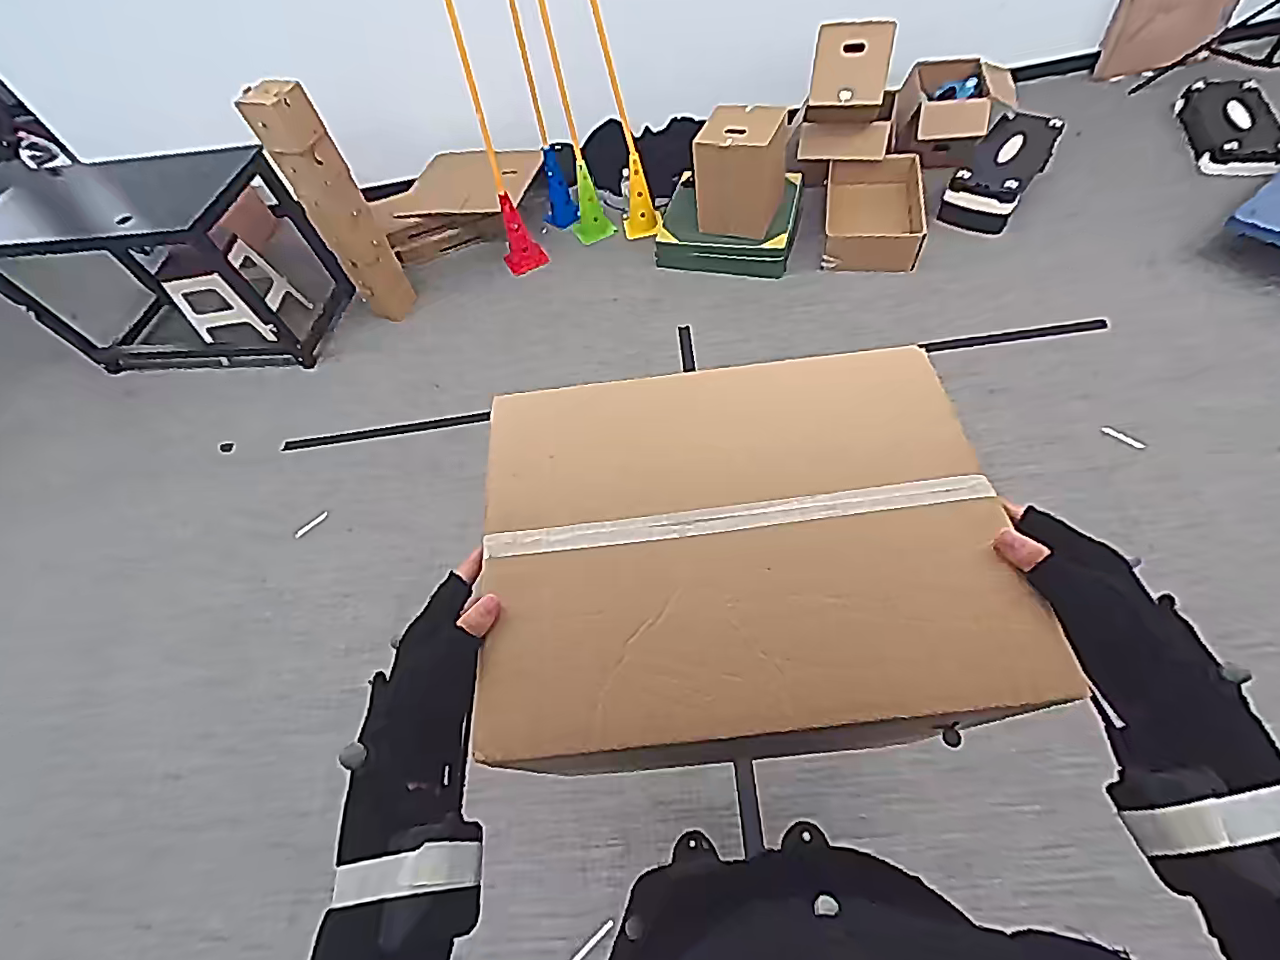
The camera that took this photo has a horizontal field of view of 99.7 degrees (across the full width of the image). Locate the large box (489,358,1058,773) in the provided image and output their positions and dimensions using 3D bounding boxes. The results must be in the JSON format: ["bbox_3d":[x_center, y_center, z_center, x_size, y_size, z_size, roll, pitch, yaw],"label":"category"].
[{"bbox_3d":[0.089,0.113,0.573,0.408,0.320,0.320,-7,59,1],"label":"large box"}]

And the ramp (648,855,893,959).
[{"bbox_3d":[0.303,1.298,0.989,0.509,0.206,0.991,-8,57,3],"label":"ramp"}]
